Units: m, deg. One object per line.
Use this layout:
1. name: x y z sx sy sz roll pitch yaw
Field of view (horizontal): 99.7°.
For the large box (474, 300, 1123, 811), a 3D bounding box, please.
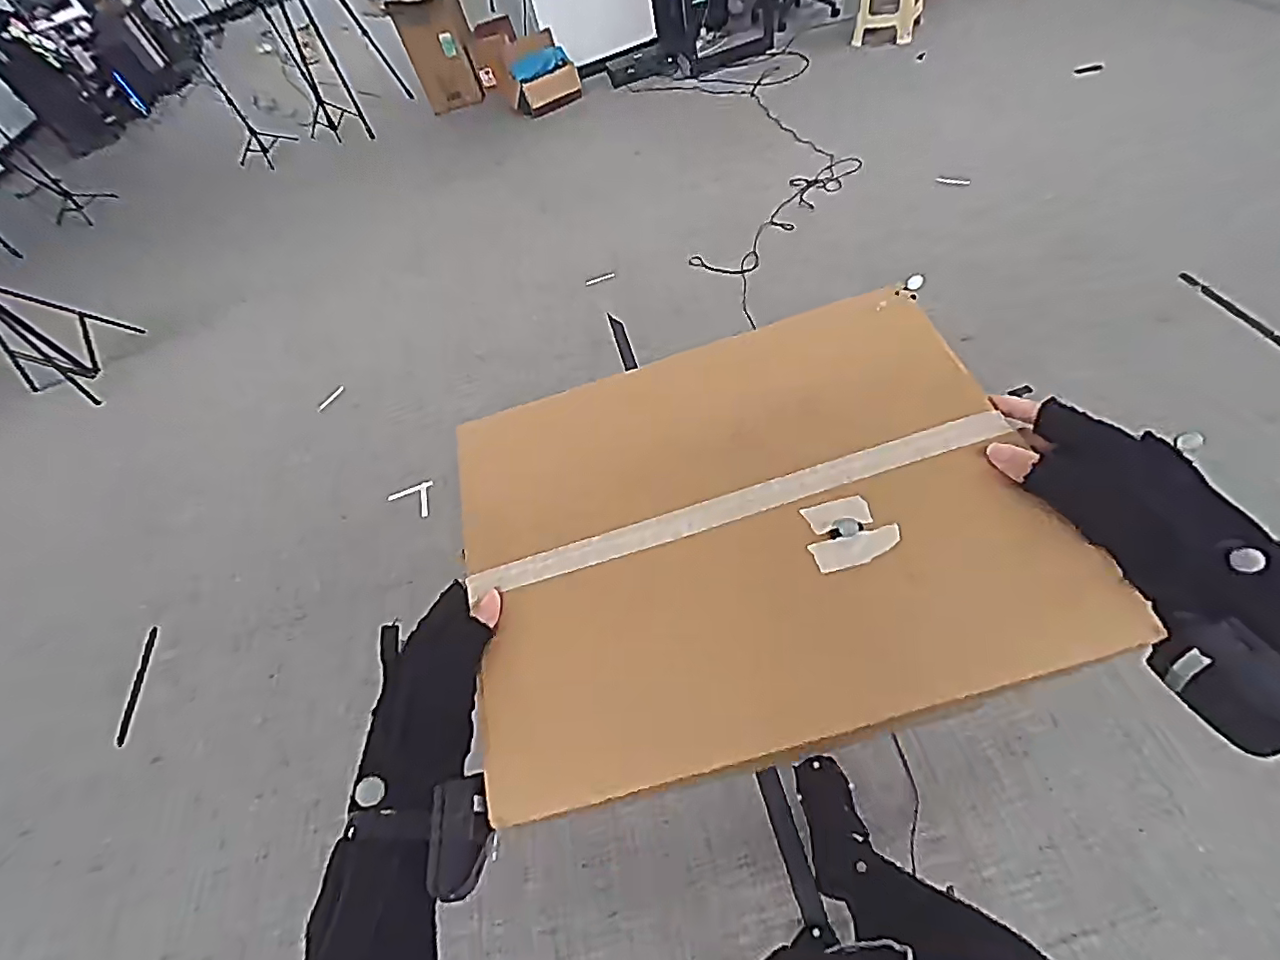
1. large box: 0.098 0.096 0.537 0.408 0.320 0.320 -18 59 2
